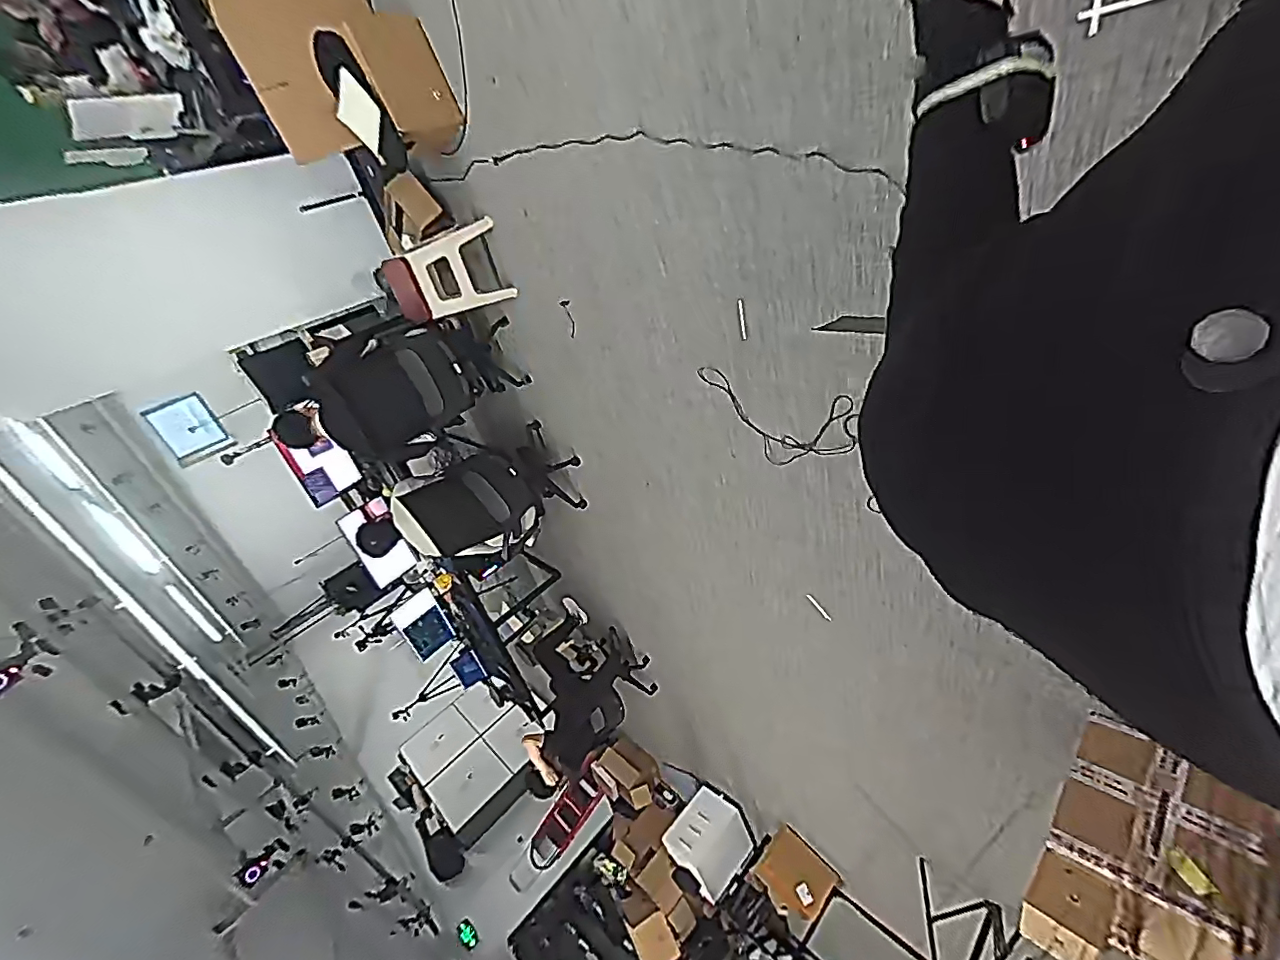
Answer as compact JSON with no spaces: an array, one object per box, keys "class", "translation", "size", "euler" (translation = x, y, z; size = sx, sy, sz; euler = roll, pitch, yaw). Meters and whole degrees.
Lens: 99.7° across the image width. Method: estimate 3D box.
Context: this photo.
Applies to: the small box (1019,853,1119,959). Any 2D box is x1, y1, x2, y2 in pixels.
[{"class":"small box","translation":[1.138,1.150,1.436],"size":[0.168,0.176,0.179],"euler":[17,132,47]}]
